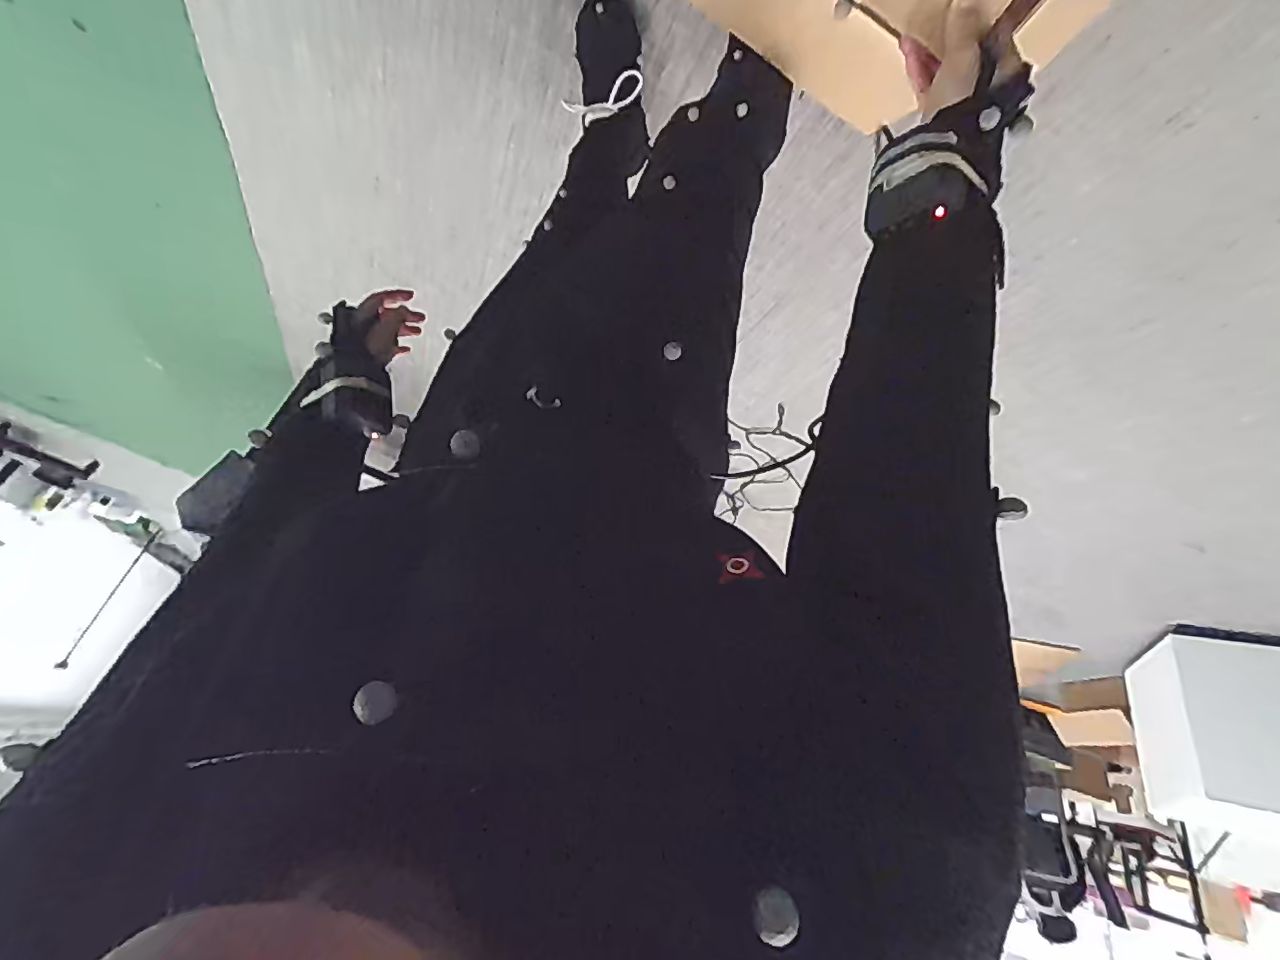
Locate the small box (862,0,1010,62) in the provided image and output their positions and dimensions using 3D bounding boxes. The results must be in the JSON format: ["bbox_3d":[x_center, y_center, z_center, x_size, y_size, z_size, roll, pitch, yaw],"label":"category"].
[{"bbox_3d":[0.232,-0.462,0.402,0.168,0.176,0.179,28,134,-8],"label":"small box"}]
